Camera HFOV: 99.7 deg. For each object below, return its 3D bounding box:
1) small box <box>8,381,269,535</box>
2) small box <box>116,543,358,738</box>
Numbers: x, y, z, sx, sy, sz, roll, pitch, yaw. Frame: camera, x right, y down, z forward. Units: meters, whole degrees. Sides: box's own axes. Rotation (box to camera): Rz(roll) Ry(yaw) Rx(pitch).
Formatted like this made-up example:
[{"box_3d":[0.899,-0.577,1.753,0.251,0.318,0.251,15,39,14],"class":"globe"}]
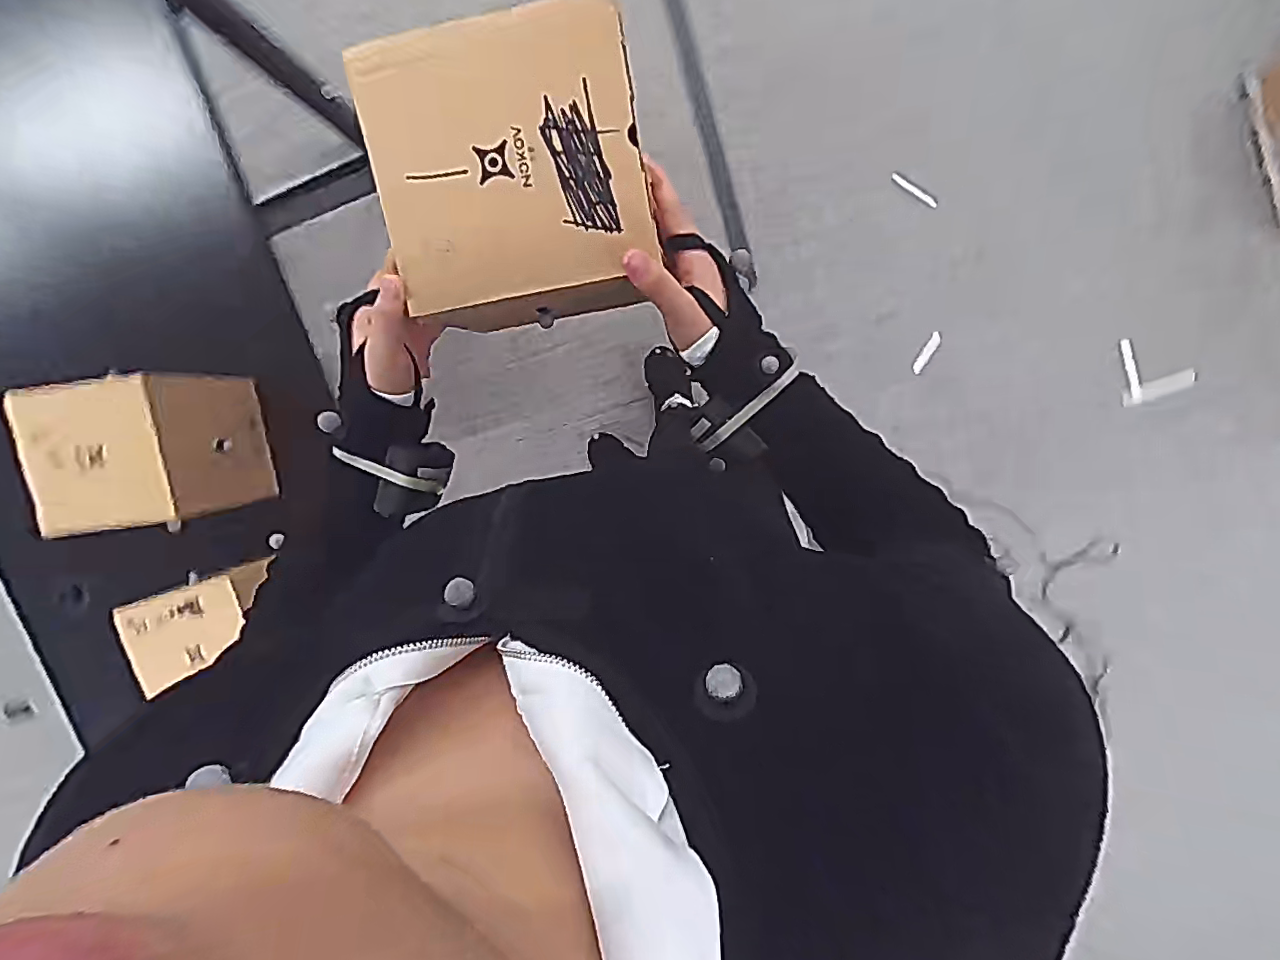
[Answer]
[{"box_3d":[-0.622,-0.036,0.701,0.179,0.176,0.168,-7,97,5],"class":"small box"},{"box_3d":[-0.523,0.206,0.731,0.168,0.176,0.179,-17,97,6],"class":"small box"}]
